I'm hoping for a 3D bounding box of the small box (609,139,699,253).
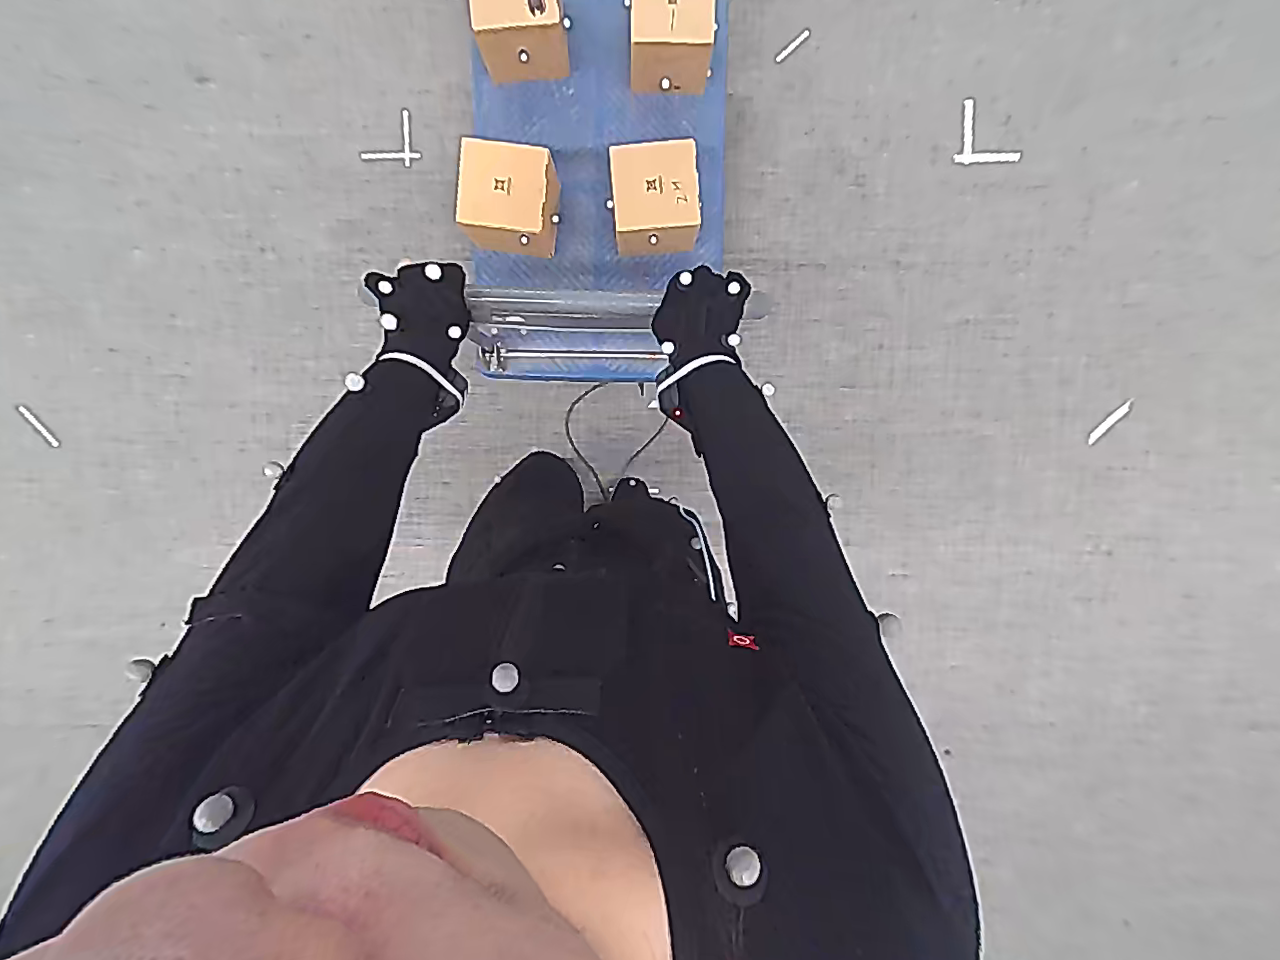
[{"bbox_3d":[0.031,-0.603,1.168,0.179,0.176,0.168,-5,96,1],"label":"small box"}]

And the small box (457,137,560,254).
[{"bbox_3d":[-0.277,-0.604,1.167,0.179,0.176,0.168,6,95,-2],"label":"small box"}]

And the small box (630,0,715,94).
[{"bbox_3d":[0.064,-0.955,1.132,0.168,0.176,0.179,1,97,-1],"label":"small box"}]
